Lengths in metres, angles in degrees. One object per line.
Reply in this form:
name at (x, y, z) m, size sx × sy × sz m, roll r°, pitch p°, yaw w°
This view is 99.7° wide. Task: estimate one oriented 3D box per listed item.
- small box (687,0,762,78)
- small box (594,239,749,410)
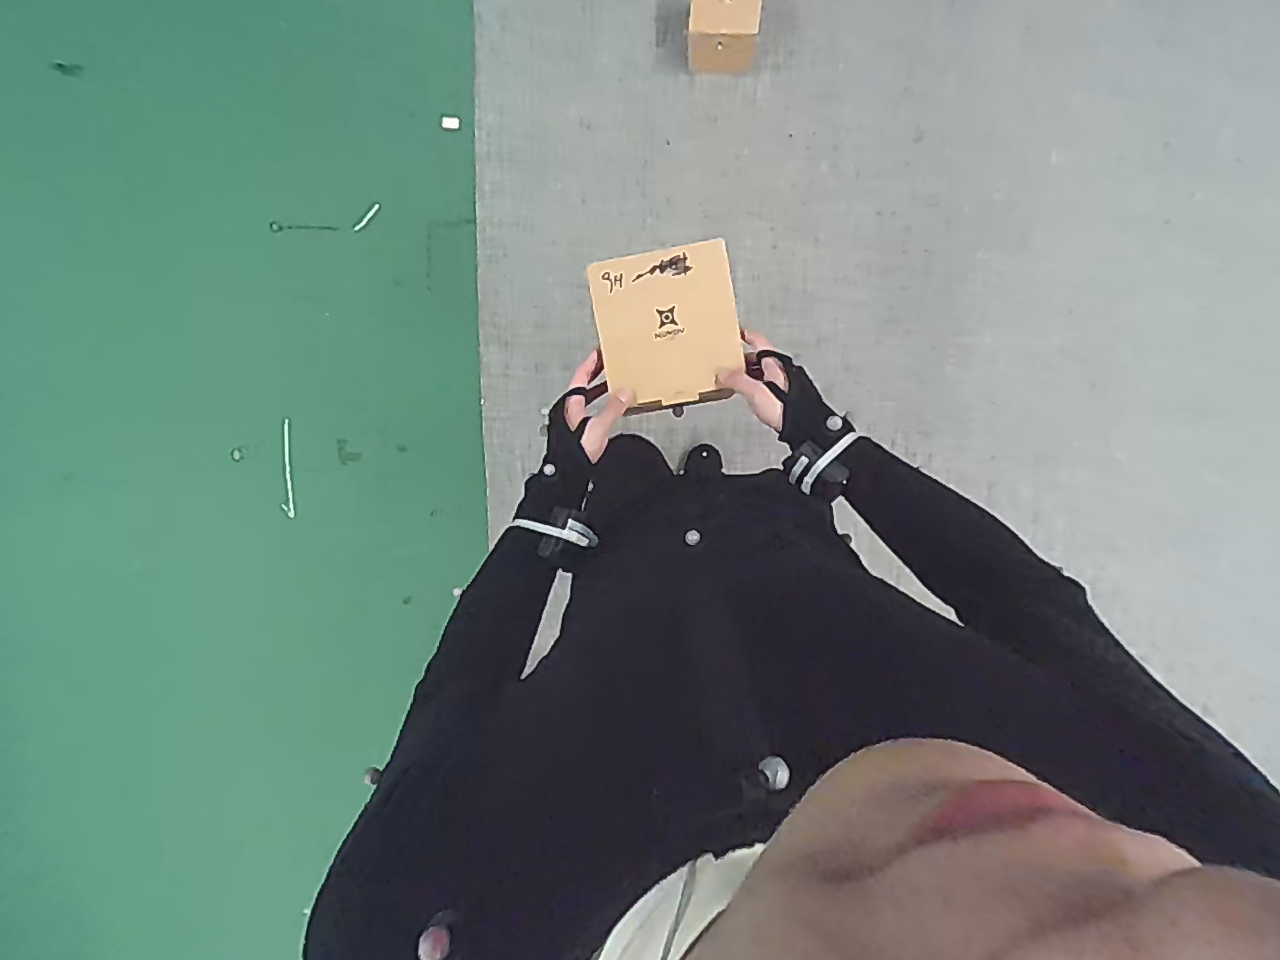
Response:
small box at (0.219, -1.183, 1.405) m, size 0.179 × 0.176 × 0.168 m, roll 6°, pitch 98°, yaw 4°
small box at (0.041, -0.190, 0.714) m, size 0.168 × 0.176 × 0.179 m, roll -9°, pitch 95°, yaw 3°
